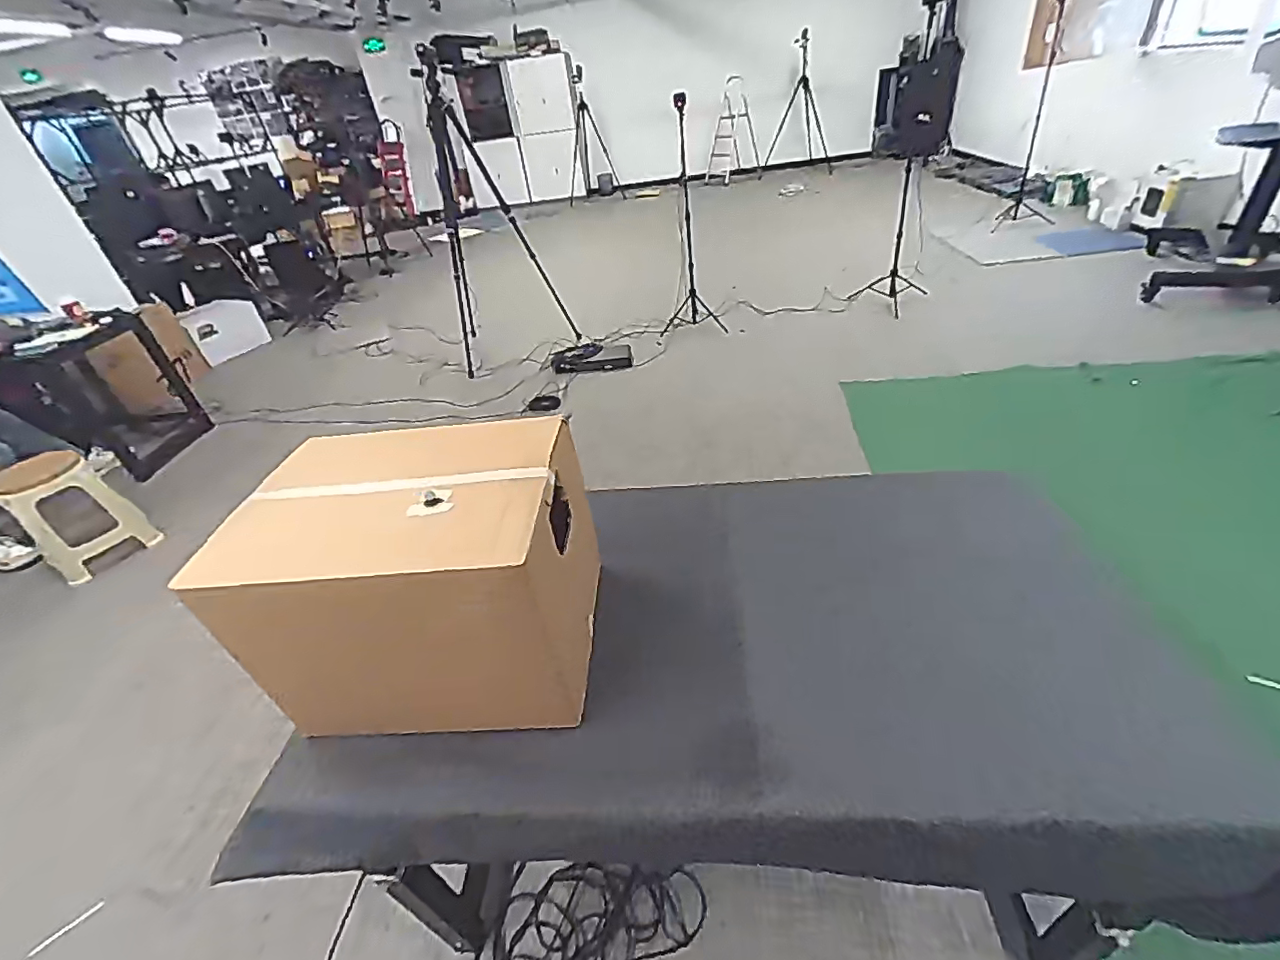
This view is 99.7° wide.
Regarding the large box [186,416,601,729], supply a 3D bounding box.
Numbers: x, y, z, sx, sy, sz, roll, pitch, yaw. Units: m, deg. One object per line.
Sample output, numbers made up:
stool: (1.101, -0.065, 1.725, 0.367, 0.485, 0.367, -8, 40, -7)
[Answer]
large box: (-0.283, 0.128, 0.780, 0.408, 0.320, 0.320, -4, 37, 4)
